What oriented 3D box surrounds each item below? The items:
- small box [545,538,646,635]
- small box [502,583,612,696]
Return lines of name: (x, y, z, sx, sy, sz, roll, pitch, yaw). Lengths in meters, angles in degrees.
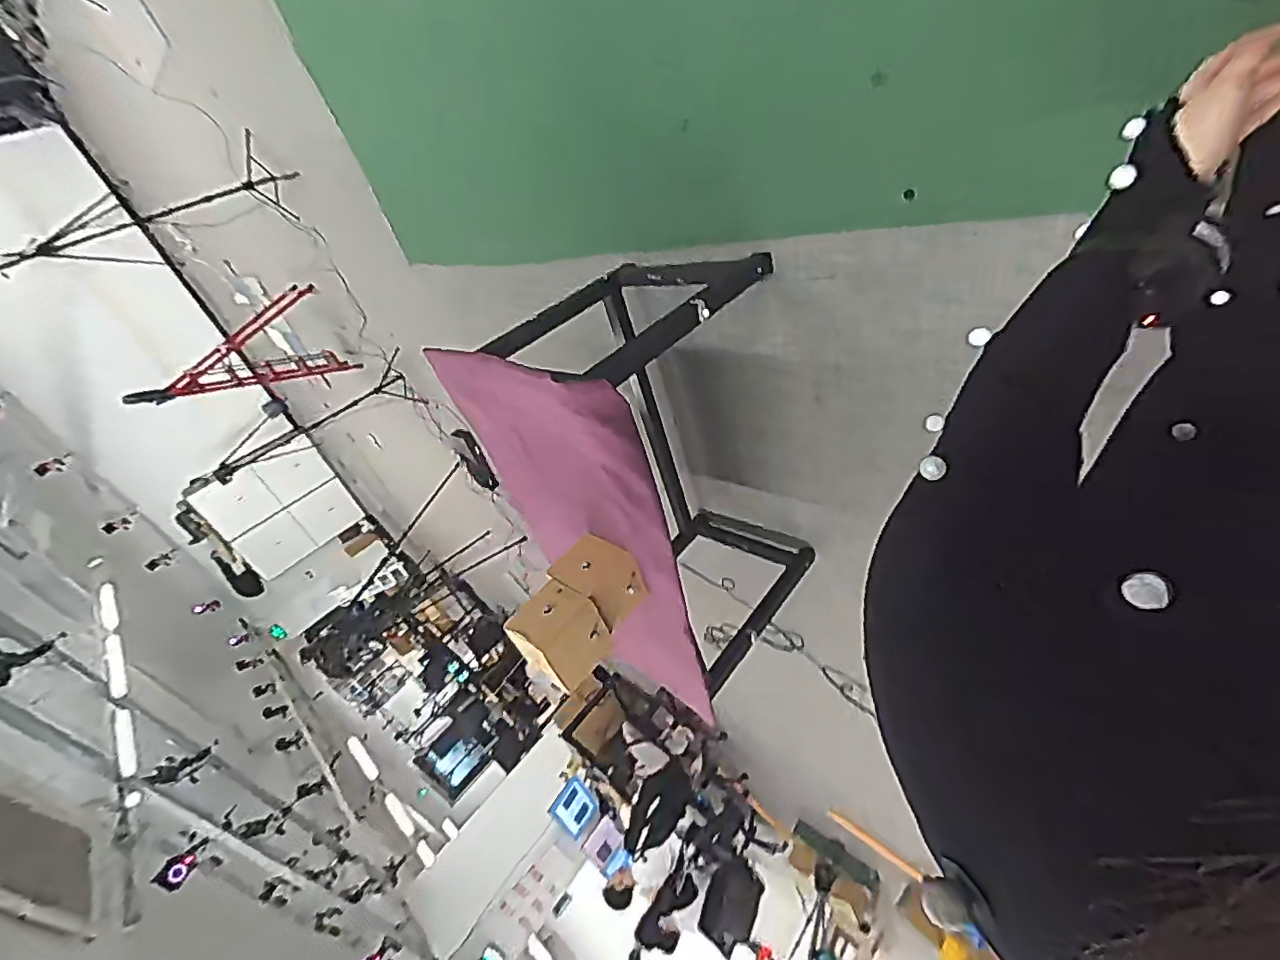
small box: (-0.114, 0.278, 1.429, 0.179, 0.176, 0.168, 18, 139, 41)
small box: (-0.200, 0.384, 1.334, 0.168, 0.176, 0.179, 15, 137, 44)
